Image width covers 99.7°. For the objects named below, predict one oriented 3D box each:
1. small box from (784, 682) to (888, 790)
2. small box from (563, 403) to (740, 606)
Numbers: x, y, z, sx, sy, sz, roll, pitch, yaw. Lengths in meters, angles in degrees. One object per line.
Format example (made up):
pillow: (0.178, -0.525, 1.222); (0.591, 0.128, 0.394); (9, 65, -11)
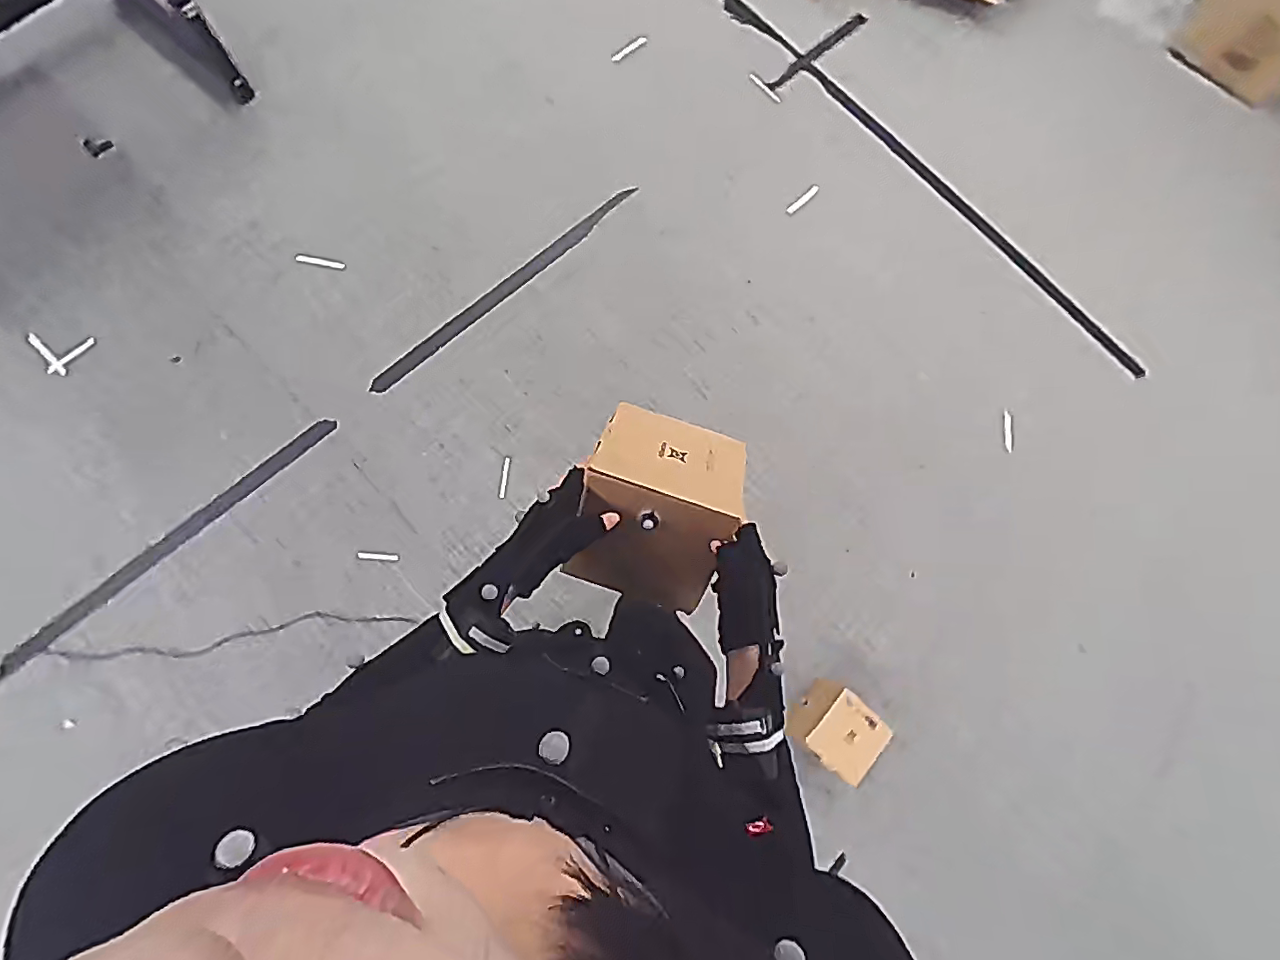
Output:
small box: (0.505, 0.666, 1.432); (0.168, 0.176, 0.179); (45, 78, 4)
small box: (0.014, 0.031, 0.683); (0.179, 0.176, 0.168); (18, 36, 0)
